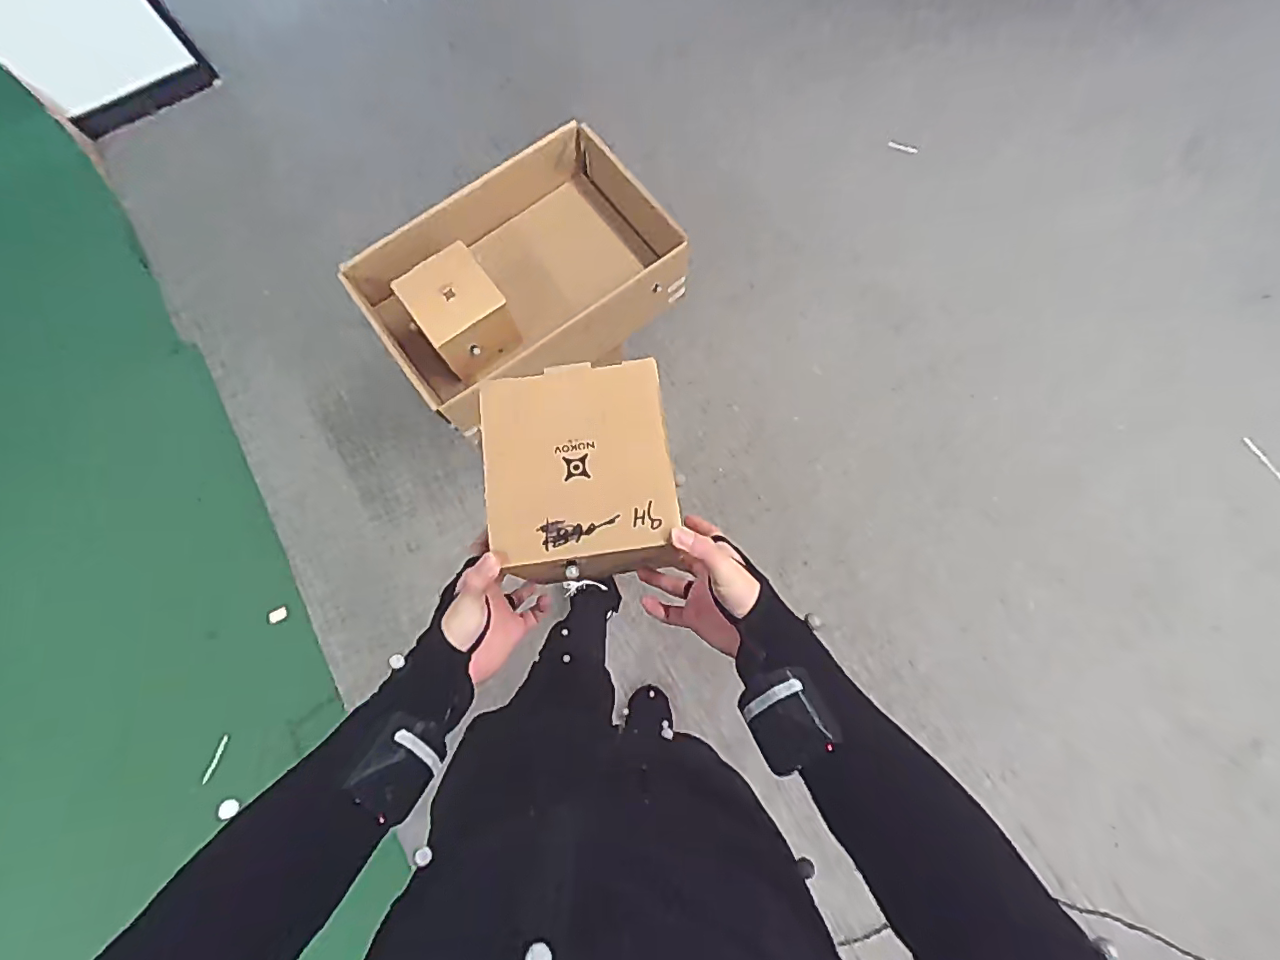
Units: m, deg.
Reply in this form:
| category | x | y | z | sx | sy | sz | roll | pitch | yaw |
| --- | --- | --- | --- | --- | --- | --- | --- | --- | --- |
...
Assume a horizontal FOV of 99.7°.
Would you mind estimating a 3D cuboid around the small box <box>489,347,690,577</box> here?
| category | x | y | z | sx | sy | sz | roll | pitch | yaw |
| --- | --- | --- | --- | --- | --- | --- | --- | --- | --- |
| small box | -0.045 | -0.007 | 0.543 | 0.168 | 0.176 | 0.179 | -8 | 74 | 1 |

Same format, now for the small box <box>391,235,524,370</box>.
| category | x | y | z | sx | sy | sz | roll | pitch | yaw |
| --- | --- | --- | --- | --- | --- | --- | --- | --- | --- |
| small box | -0.363 | -0.348 | 1.108 | 0.168 | 0.176 | 0.179 | -36 | 78 | -7 |
